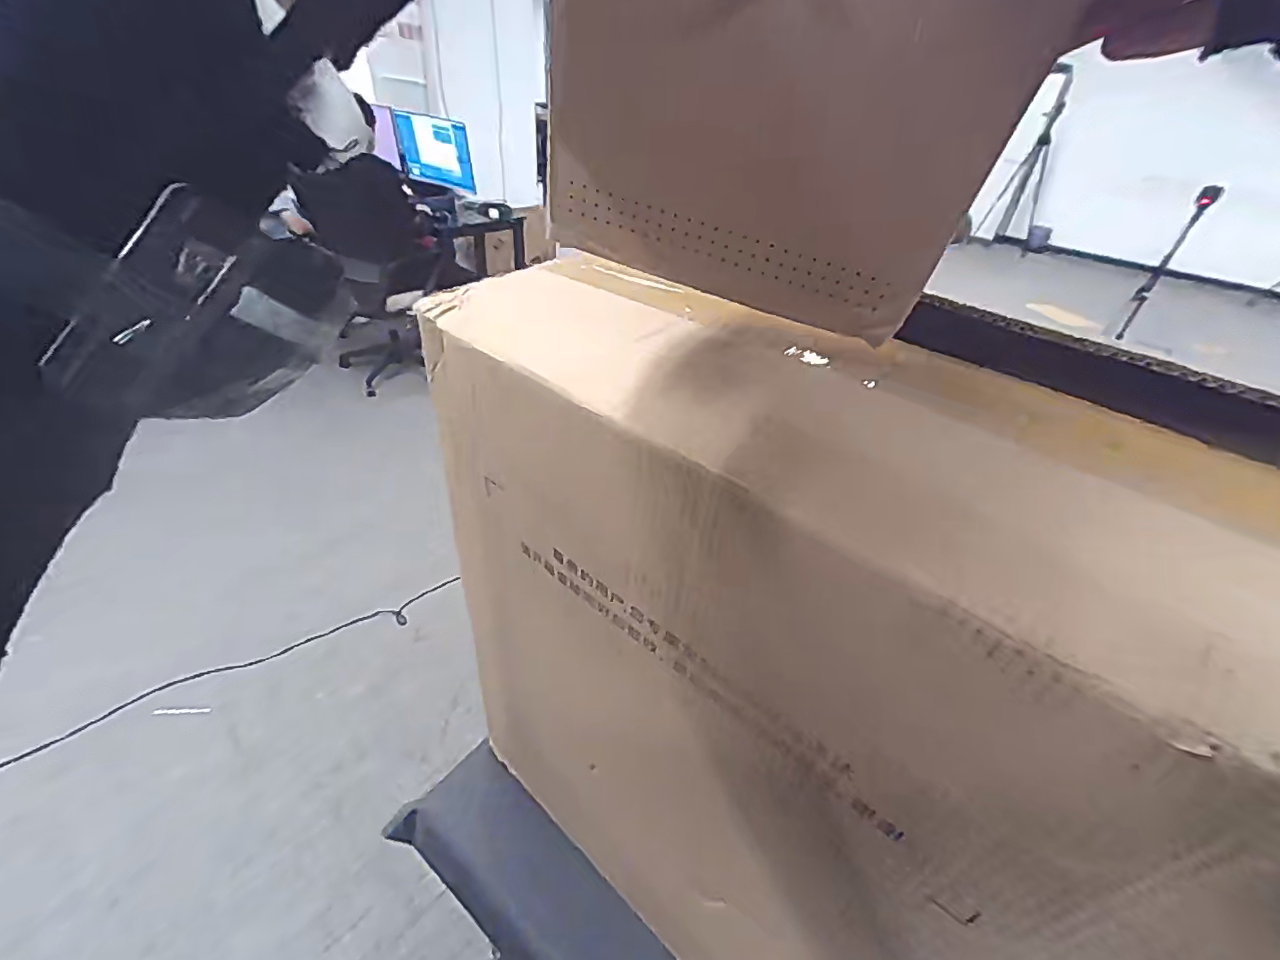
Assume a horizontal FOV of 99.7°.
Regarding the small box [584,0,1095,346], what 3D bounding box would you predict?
[{"bbox_3d":[0.083,-0.192,0.263,0.179,0.176,0.168,22,51,8],"label":"small box"}]
